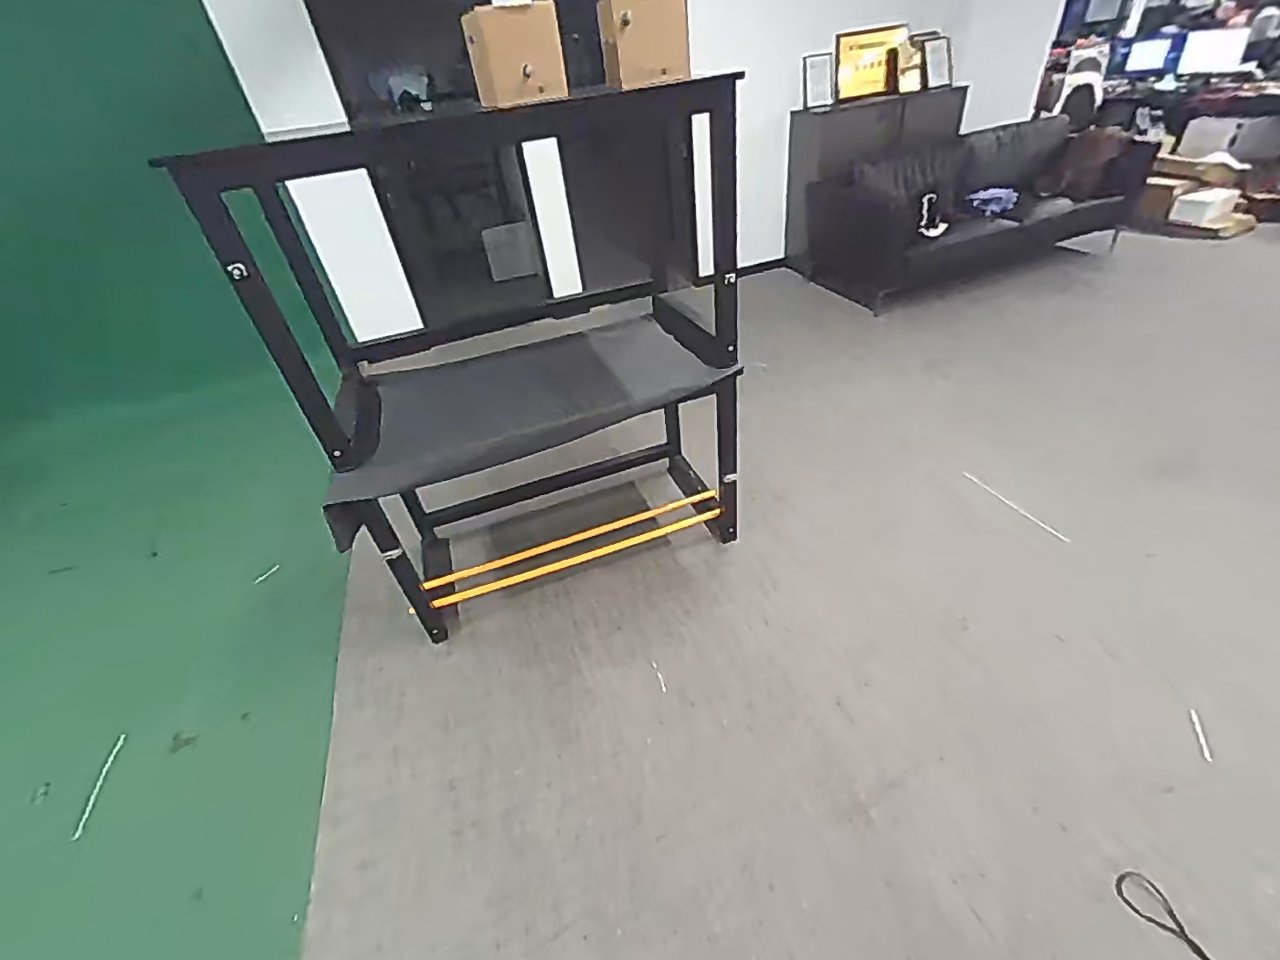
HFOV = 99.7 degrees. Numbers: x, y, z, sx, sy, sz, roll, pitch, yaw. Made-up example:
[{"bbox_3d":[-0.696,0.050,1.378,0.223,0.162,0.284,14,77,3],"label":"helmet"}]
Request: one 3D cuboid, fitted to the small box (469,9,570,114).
[{"bbox_3d":[-0.272,-0.940,1.225,0.168,0.176,0.179,-20,39,-15],"label":"small box"}]
